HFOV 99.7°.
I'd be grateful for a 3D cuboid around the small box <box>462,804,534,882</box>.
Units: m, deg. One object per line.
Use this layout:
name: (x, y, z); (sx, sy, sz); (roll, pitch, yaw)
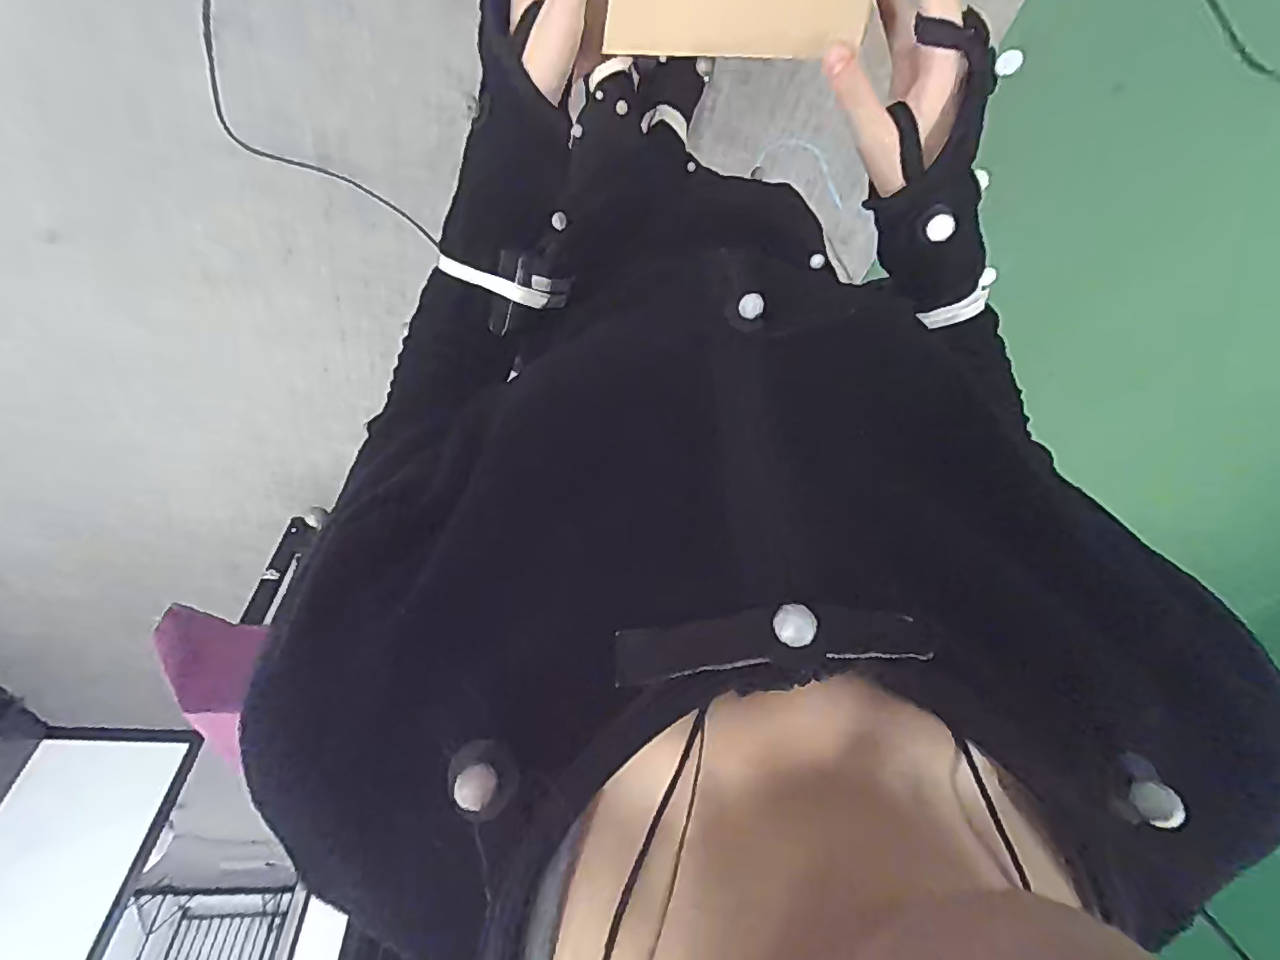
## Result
small box: (-0.425, 1.095, 1.631); (0.168, 0.176, 0.179); (16, 132, -19)
